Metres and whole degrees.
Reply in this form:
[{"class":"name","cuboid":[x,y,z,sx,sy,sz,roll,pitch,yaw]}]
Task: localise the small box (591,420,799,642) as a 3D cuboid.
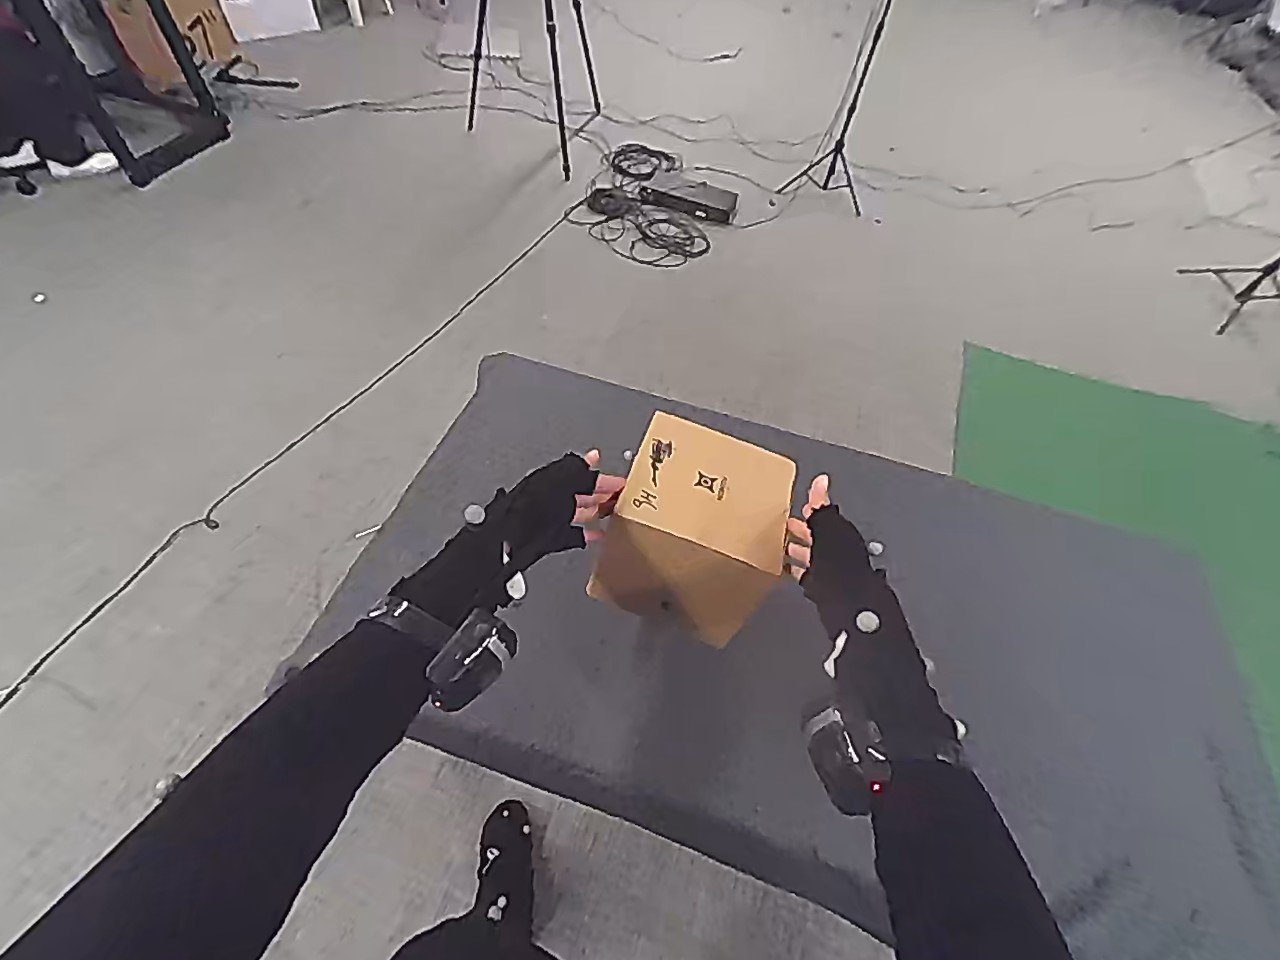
[{"class":"small box","cuboid":[0.061,0.067,0.631,0.179,0.176,0.168,22,48,1]}]
